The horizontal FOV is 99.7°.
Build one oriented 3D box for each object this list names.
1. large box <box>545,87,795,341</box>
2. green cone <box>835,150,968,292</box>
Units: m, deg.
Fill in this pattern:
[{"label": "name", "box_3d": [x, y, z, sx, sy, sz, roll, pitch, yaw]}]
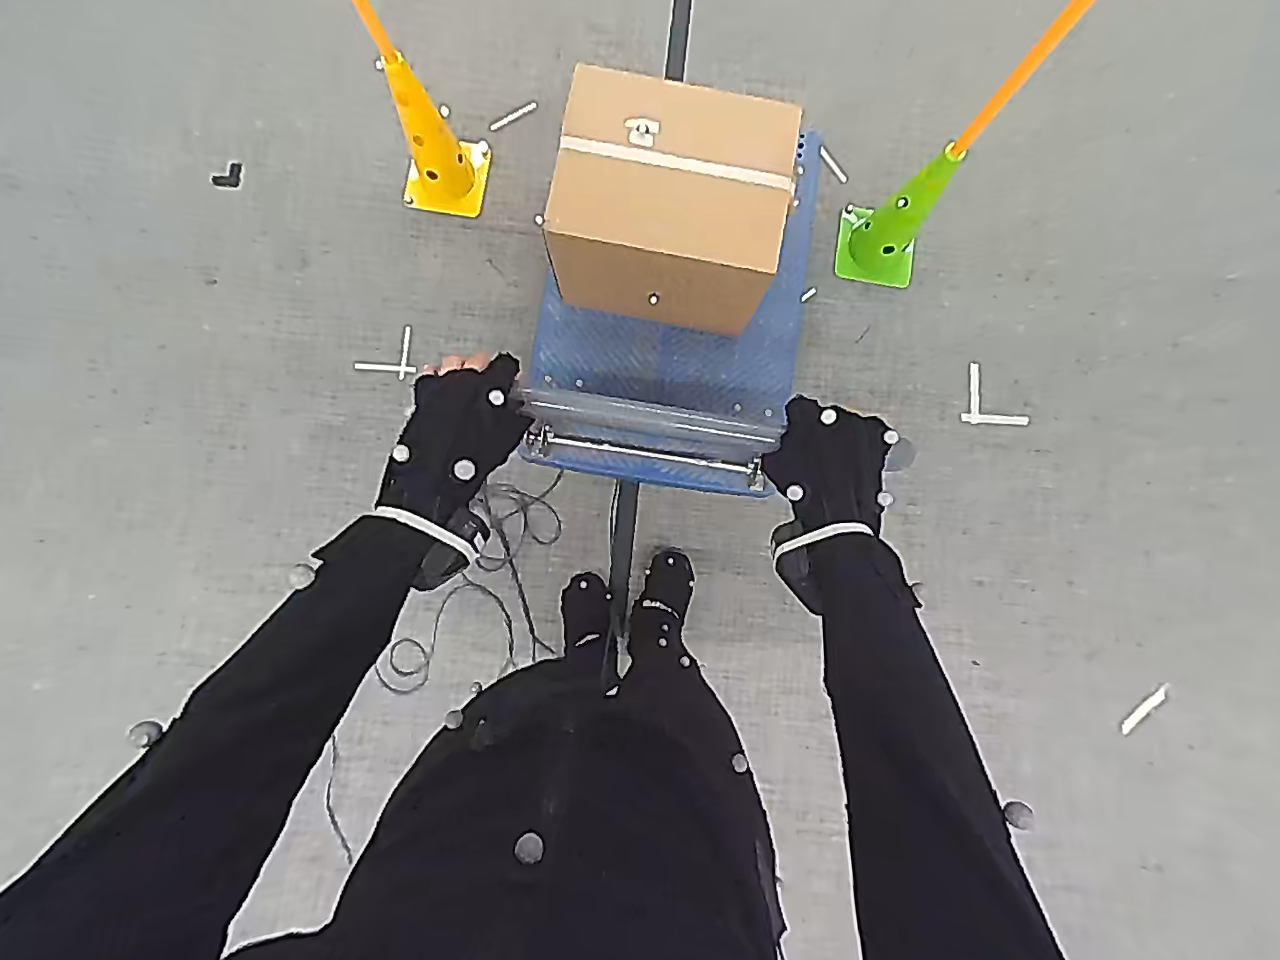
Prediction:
[{"label": "large box", "box_3d": [0.058, -0.505, 1.093, 0.408, 0.320, 0.320, 11, 84, 1]}, {"label": "green cone", "box_3d": [0.627, -0.621, 1.259, 0.202, 0.368, 0.200, 10, 84, -1]}]
